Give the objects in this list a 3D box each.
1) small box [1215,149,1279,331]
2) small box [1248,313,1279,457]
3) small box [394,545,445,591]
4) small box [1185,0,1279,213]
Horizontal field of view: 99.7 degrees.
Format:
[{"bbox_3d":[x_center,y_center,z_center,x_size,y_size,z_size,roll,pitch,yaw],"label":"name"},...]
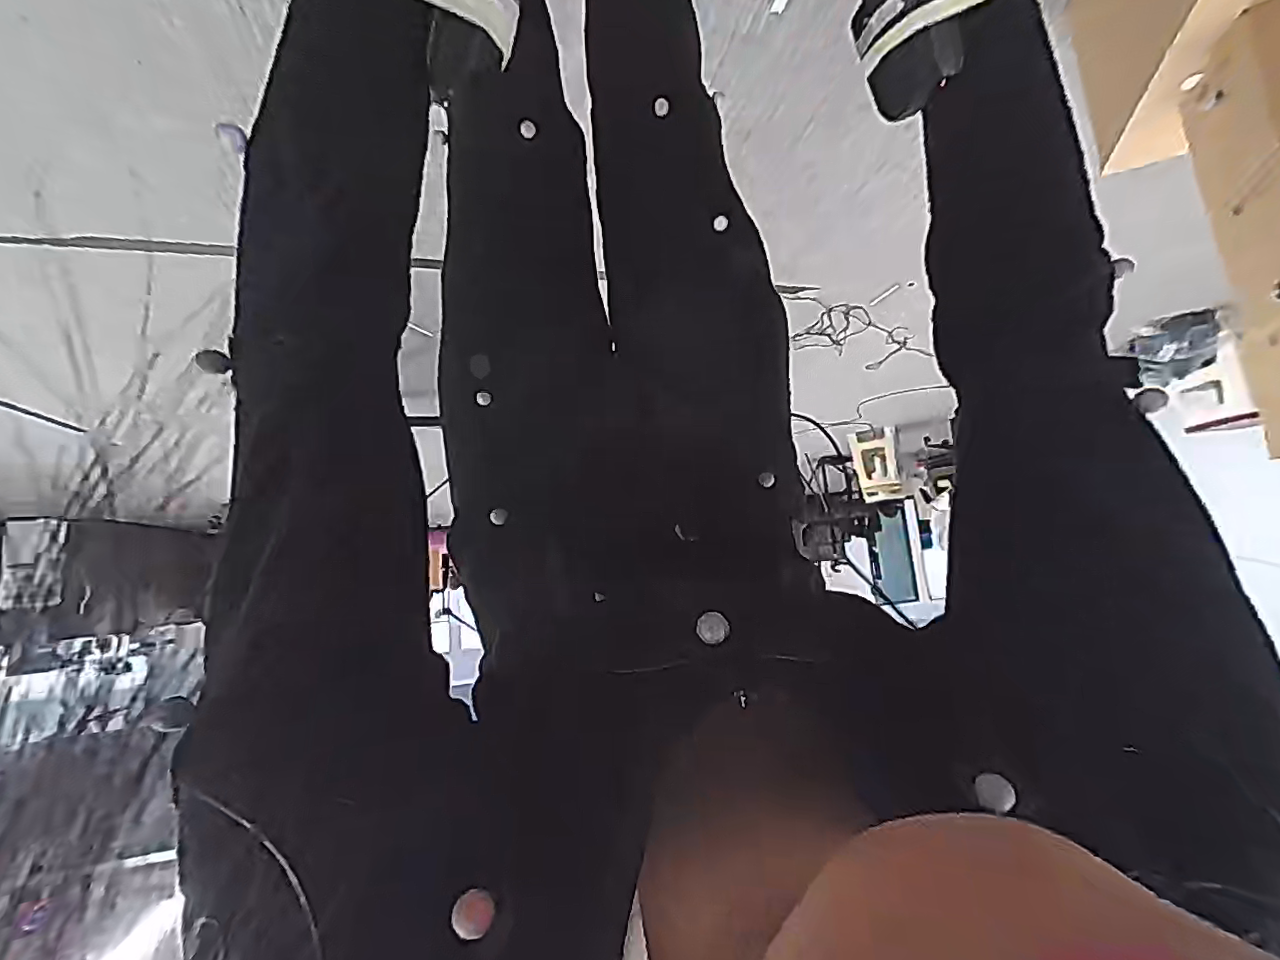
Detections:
[{"bbox_3d":[0.808,-0.292,0.597,0.179,0.176,0.168,-9,170,25],"label":"small box"},{"bbox_3d":[0.822,-0.130,0.578,0.179,0.176,0.168,-9,171,26],"label":"small box"},{"bbox_3d":[-0.872,0.347,2.145,0.179,0.176,0.168,-1,170,-17],"label":"small box"},{"bbox_3d":[0.791,-0.453,0.622,0.179,0.176,0.168,-8,171,26],"label":"small box"}]
